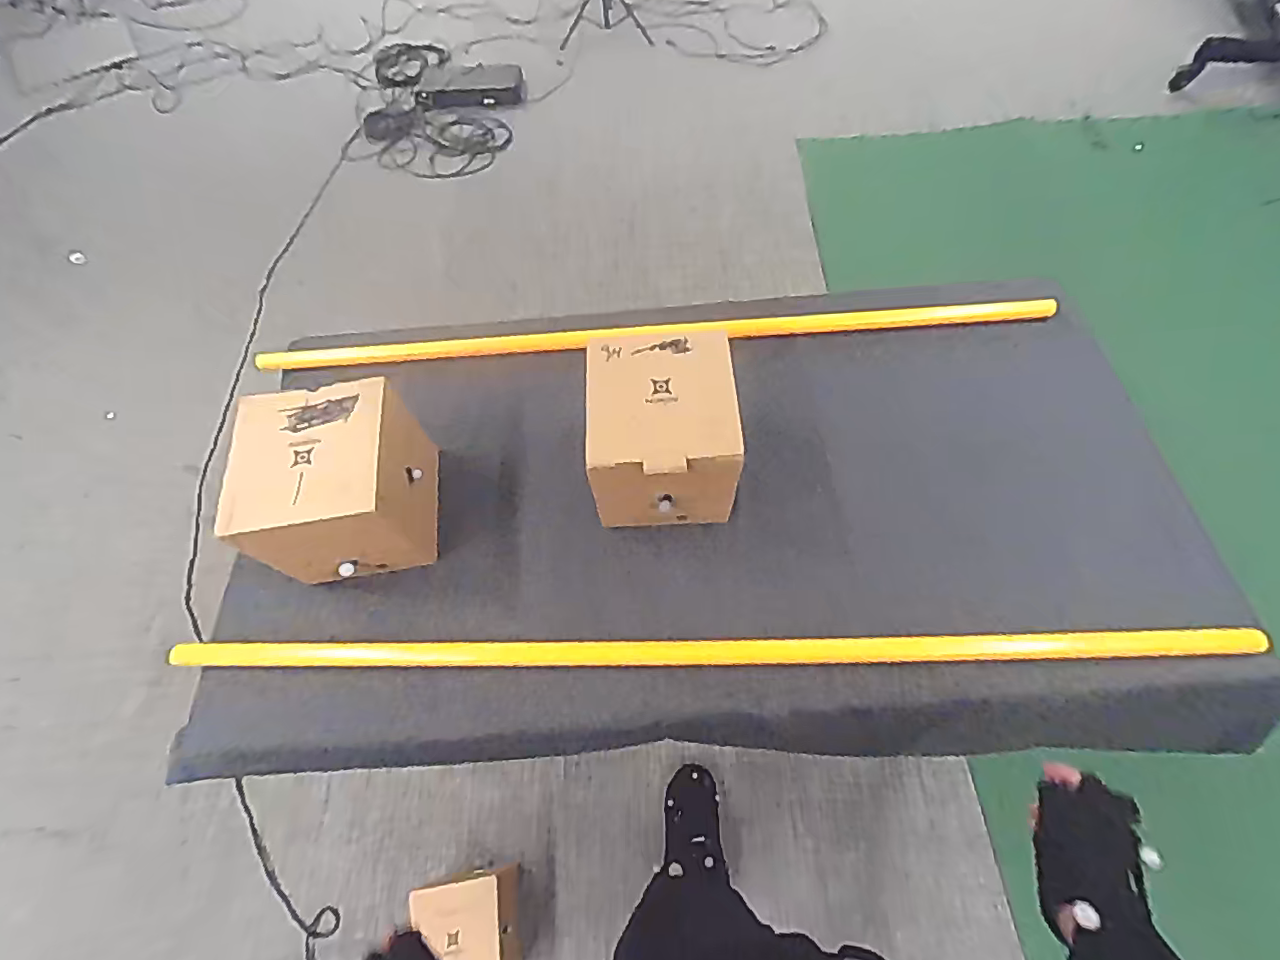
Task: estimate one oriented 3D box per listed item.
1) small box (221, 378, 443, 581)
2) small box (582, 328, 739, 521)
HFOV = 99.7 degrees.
[{"bbox_3d":[-0.352,0.005,0.657,0.168,0.176,0.179,-10,63,-1],"label":"small box"},{"bbox_3d":[0.025,-0.057,0.669,0.168,0.176,0.179,-6,62,2],"label":"small box"}]
